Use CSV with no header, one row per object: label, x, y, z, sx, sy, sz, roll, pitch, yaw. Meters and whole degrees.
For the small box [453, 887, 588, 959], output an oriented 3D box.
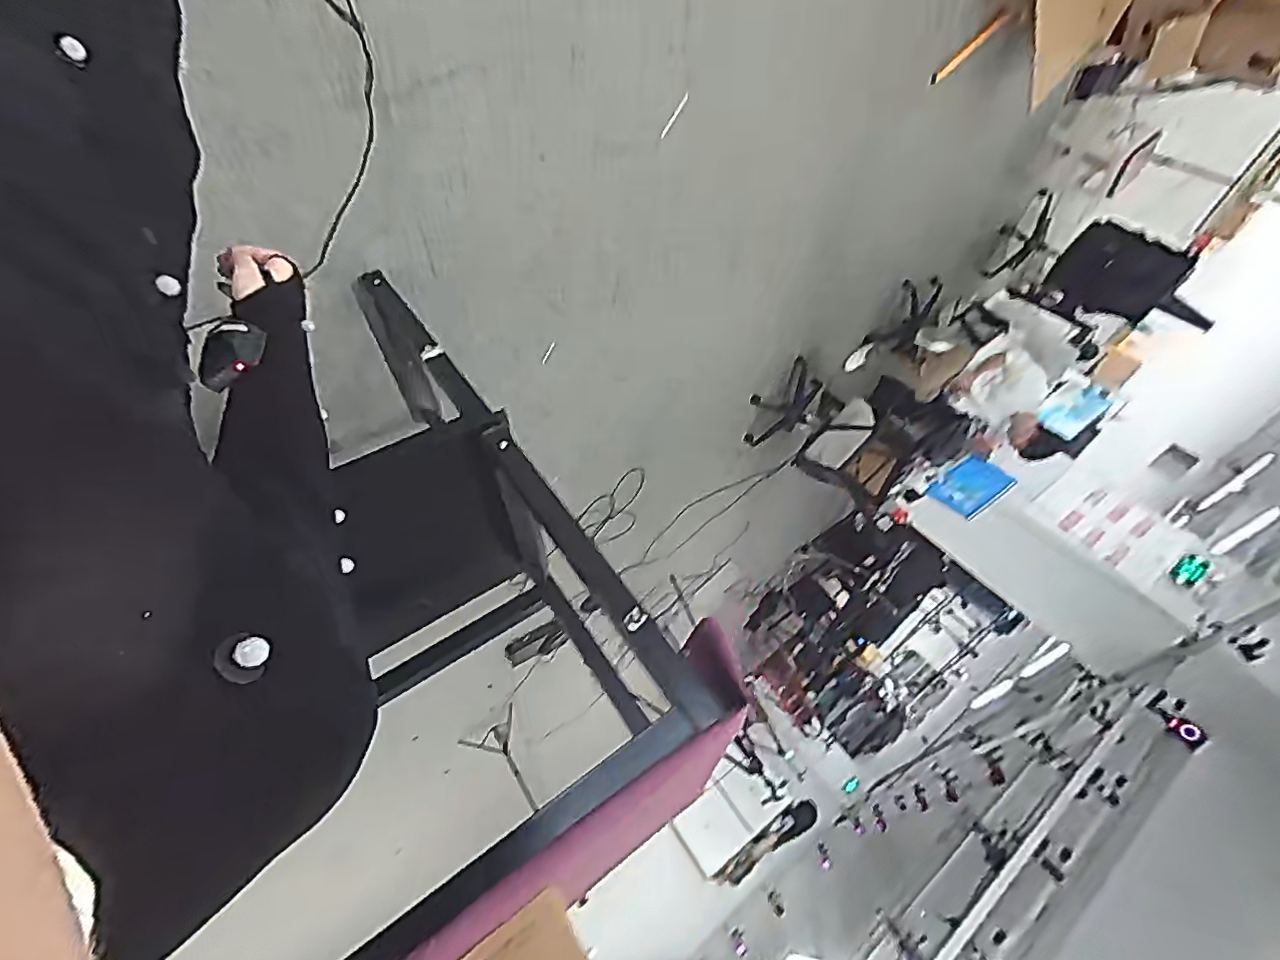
small box,-0.144,0.656,0.683,0.168,0.176,0.179,-27,148,-24
